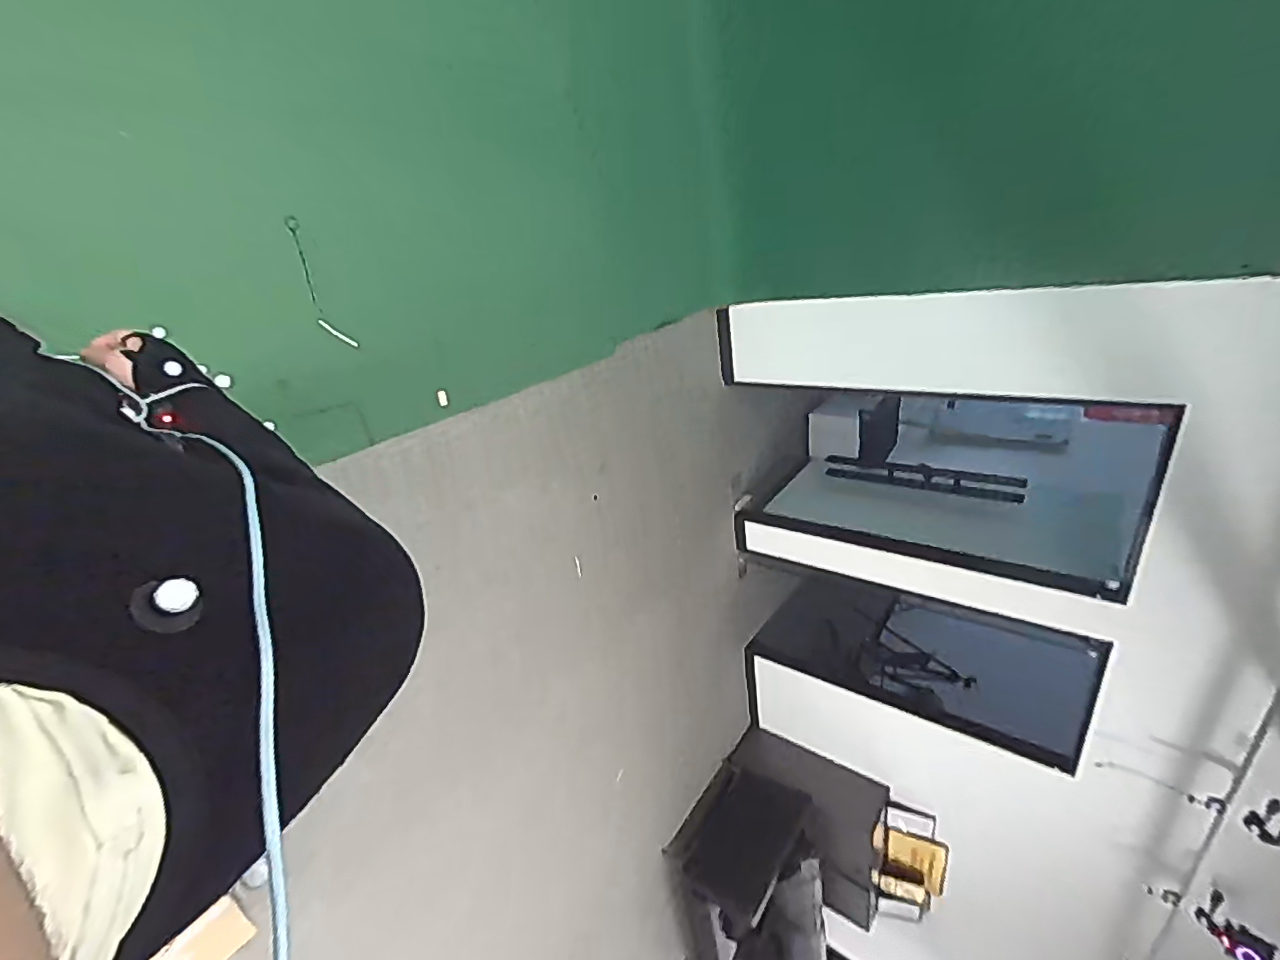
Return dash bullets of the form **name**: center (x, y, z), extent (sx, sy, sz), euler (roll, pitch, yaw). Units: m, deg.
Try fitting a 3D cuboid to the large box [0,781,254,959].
- **large box**: center (-1.218, 1.013, 1.238), extent (0.408, 0.320, 0.320), euler (-36, 126, -43)
